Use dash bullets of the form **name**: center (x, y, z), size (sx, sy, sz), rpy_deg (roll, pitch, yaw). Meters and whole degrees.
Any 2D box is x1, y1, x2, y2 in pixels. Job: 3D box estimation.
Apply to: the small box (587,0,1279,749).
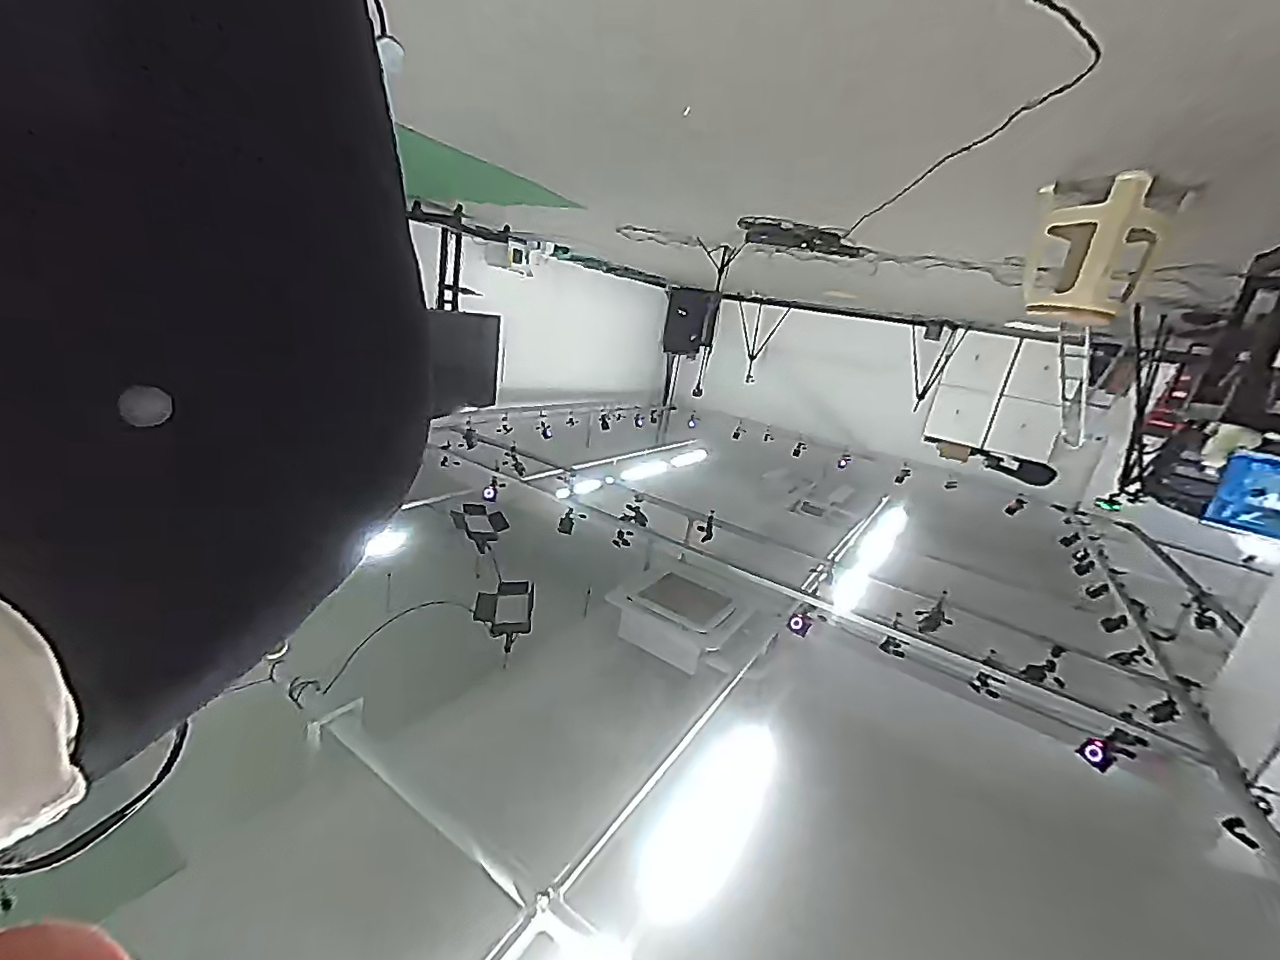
- **small box**: center (0.124, -0.050, 0.126), size (0.168, 0.176, 0.179), rpy_deg (19, 76, 31)
